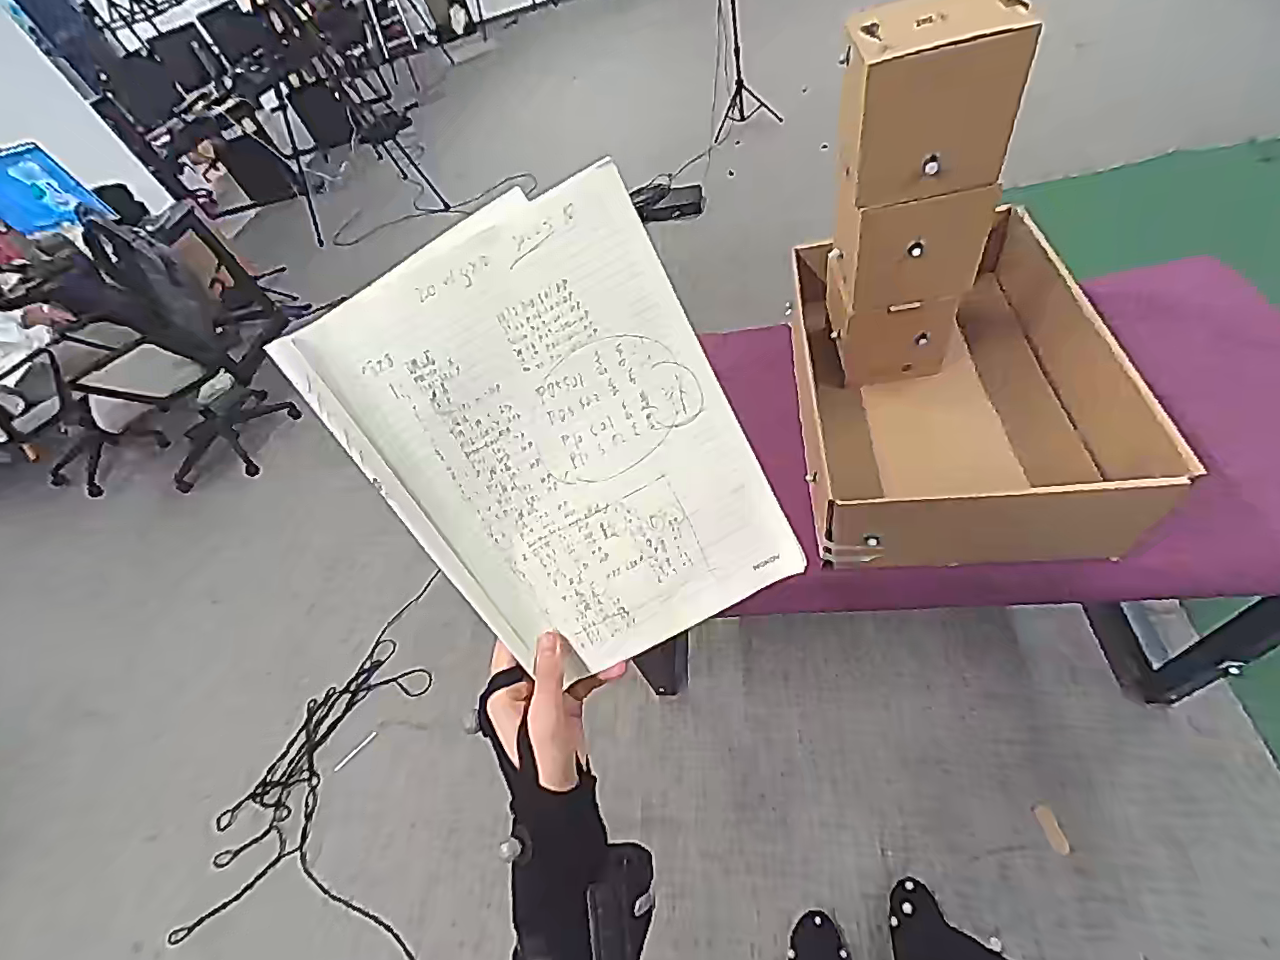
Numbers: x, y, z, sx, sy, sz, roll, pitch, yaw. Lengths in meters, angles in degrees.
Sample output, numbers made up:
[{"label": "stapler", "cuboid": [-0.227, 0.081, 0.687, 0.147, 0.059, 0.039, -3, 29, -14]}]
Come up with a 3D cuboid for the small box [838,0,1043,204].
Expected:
[{"label": "small box", "cuboid": [0.361, -0.485, 0.692, 0.179, 0.176, 0.168, -4, 53, 12]}]

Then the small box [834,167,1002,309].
[{"label": "small box", "cuboid": [0.400, -0.386, 0.816, 0.179, 0.176, 0.168, -7, 52, 12]}]
